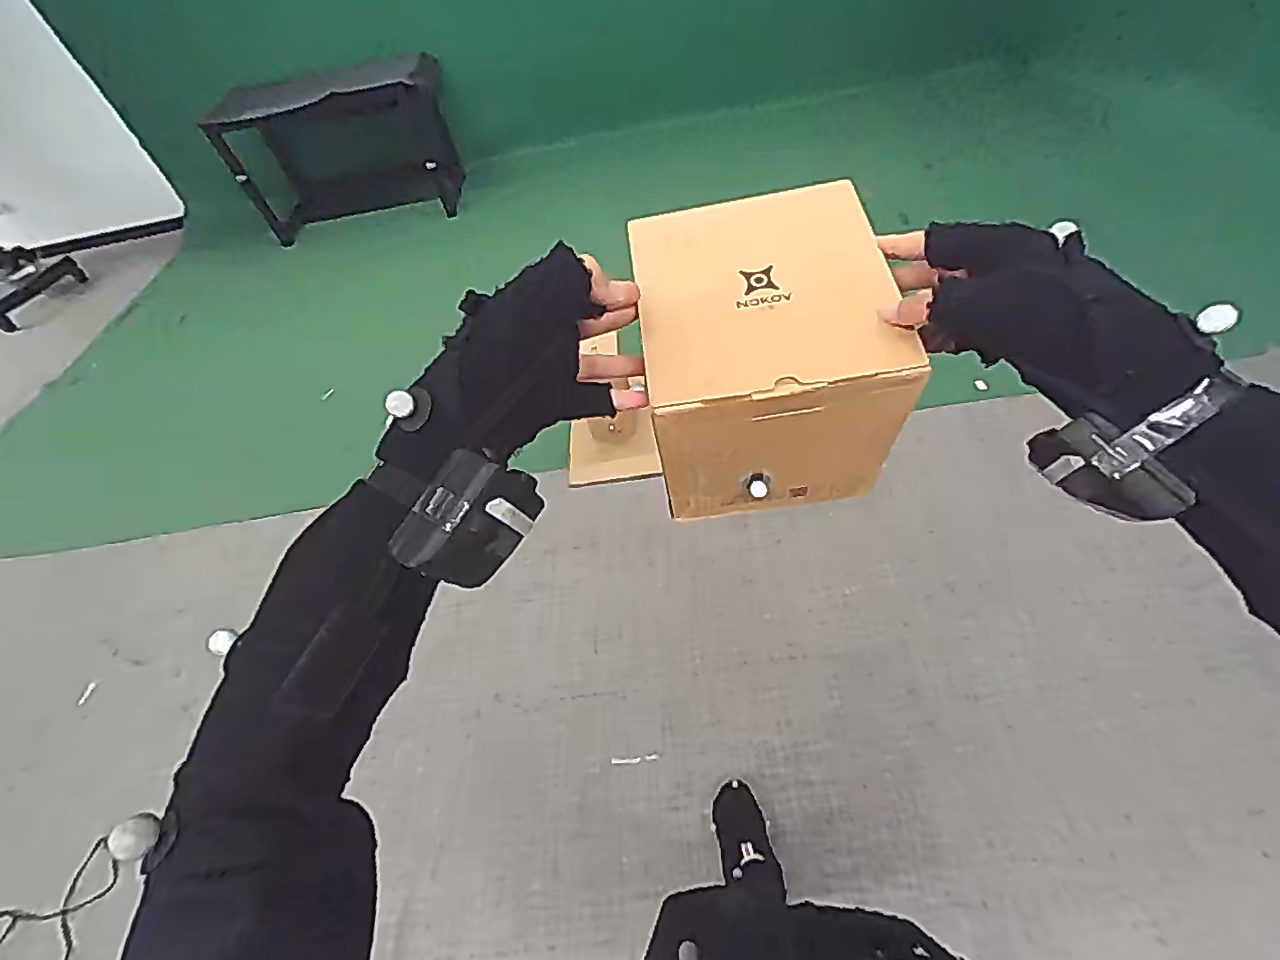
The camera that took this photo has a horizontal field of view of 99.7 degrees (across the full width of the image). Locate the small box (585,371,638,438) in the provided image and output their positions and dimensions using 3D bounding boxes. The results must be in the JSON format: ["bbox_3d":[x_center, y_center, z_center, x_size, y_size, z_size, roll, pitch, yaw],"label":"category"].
[{"bbox_3d":[-0.106,-0.282,2.007,0.168,0.176,0.179,-9,50,5],"label":"small box"}]

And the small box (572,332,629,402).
[{"bbox_3d":[-0.134,-0.386,1.883,0.168,0.176,0.179,-8,49,6],"label":"small box"}]
